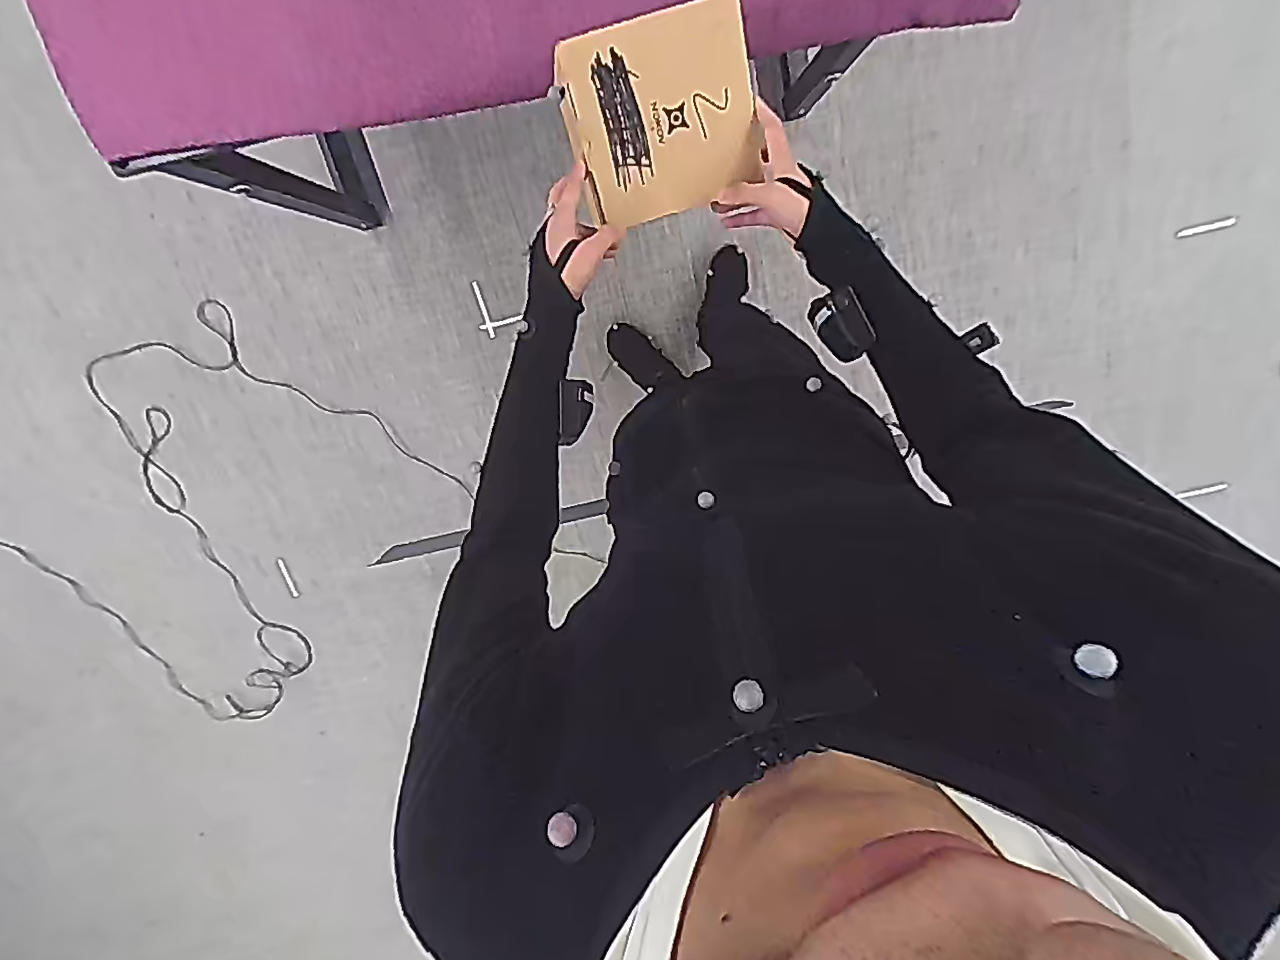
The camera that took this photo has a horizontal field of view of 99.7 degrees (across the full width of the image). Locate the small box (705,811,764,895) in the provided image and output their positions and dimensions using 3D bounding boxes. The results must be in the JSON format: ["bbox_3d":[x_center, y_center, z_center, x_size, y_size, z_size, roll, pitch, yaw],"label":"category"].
[{"bbox_3d":[0.343,1.357,1.972,0.168,0.176,0.179,-14,105,2],"label":"small box"}]
